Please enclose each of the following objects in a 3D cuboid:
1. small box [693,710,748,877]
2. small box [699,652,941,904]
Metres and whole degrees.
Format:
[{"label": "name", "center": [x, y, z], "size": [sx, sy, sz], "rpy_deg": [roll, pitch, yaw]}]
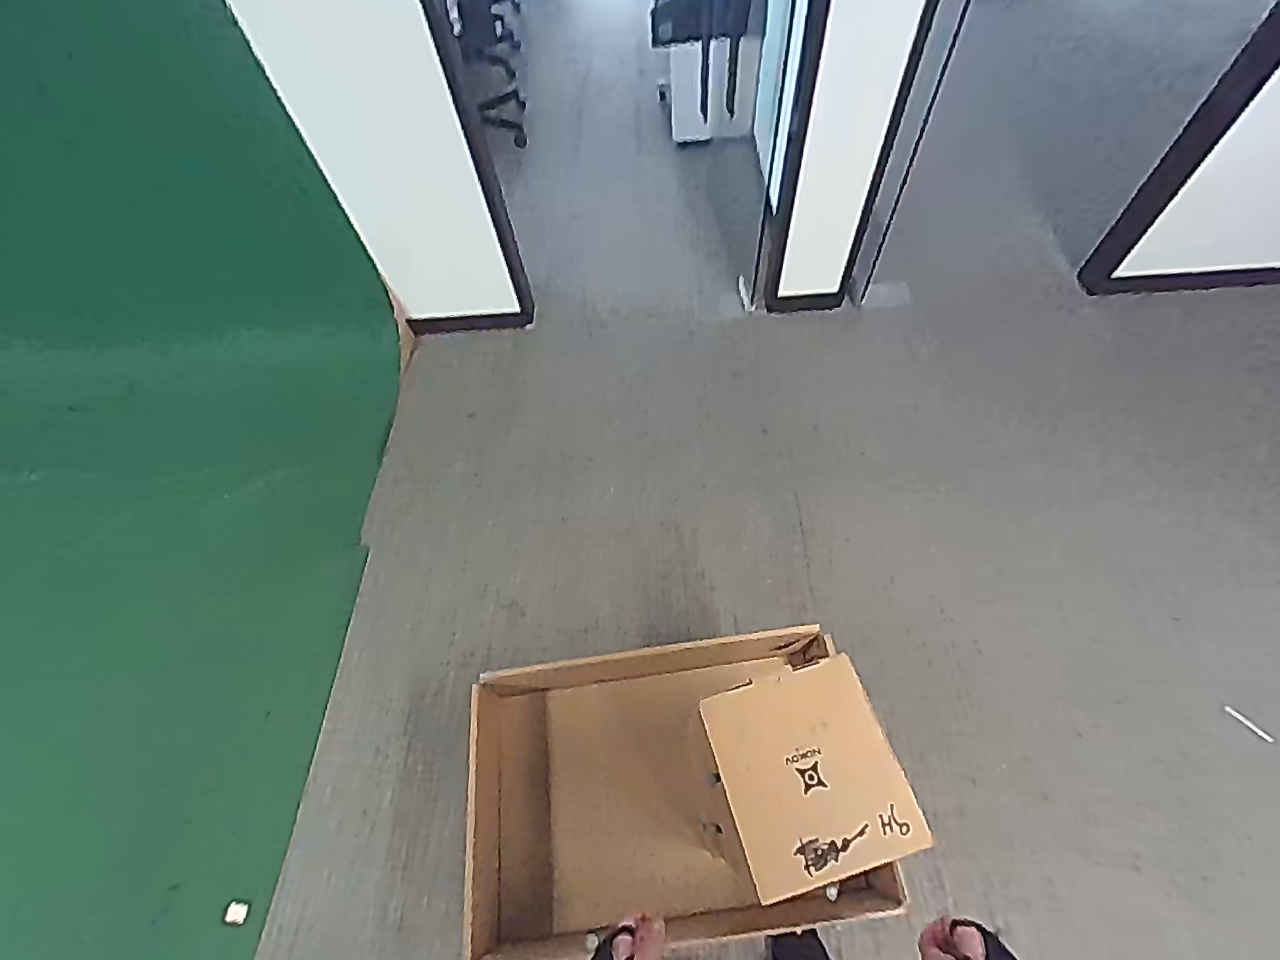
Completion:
[{"label": "small box", "center": [0.171, 0.385, 0.708], "size": [0.168, 0.176, 0.179], "rpy_deg": [-13, 60, -4]}, {"label": "small box", "center": [0.163, 0.305, 0.566], "size": [0.168, 0.176, 0.179], "rpy_deg": [-15, 60, -4]}]
